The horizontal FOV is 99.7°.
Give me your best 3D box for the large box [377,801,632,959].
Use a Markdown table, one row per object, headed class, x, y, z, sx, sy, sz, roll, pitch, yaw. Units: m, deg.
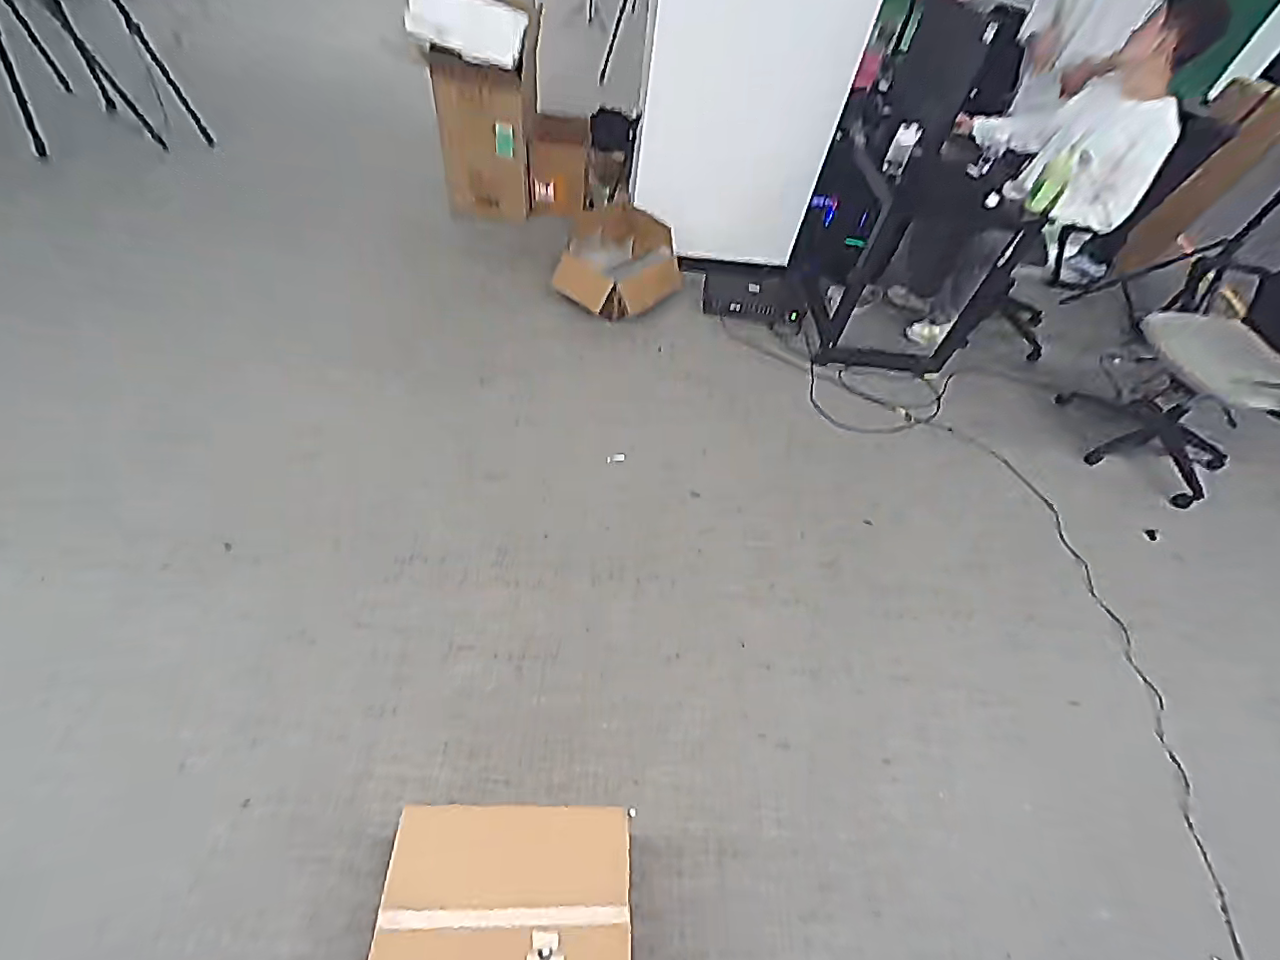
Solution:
| class | x | y | z | sx | sy | sz | roll | pitch | yaw |
| --- | --- | --- | --- | --- | --- | --- | --- | --- | --- |
| large box | -0.232 | 0.801 | 1.002 | 0.408 | 0.320 | 0.320 | 4 | 51 | -7 |
